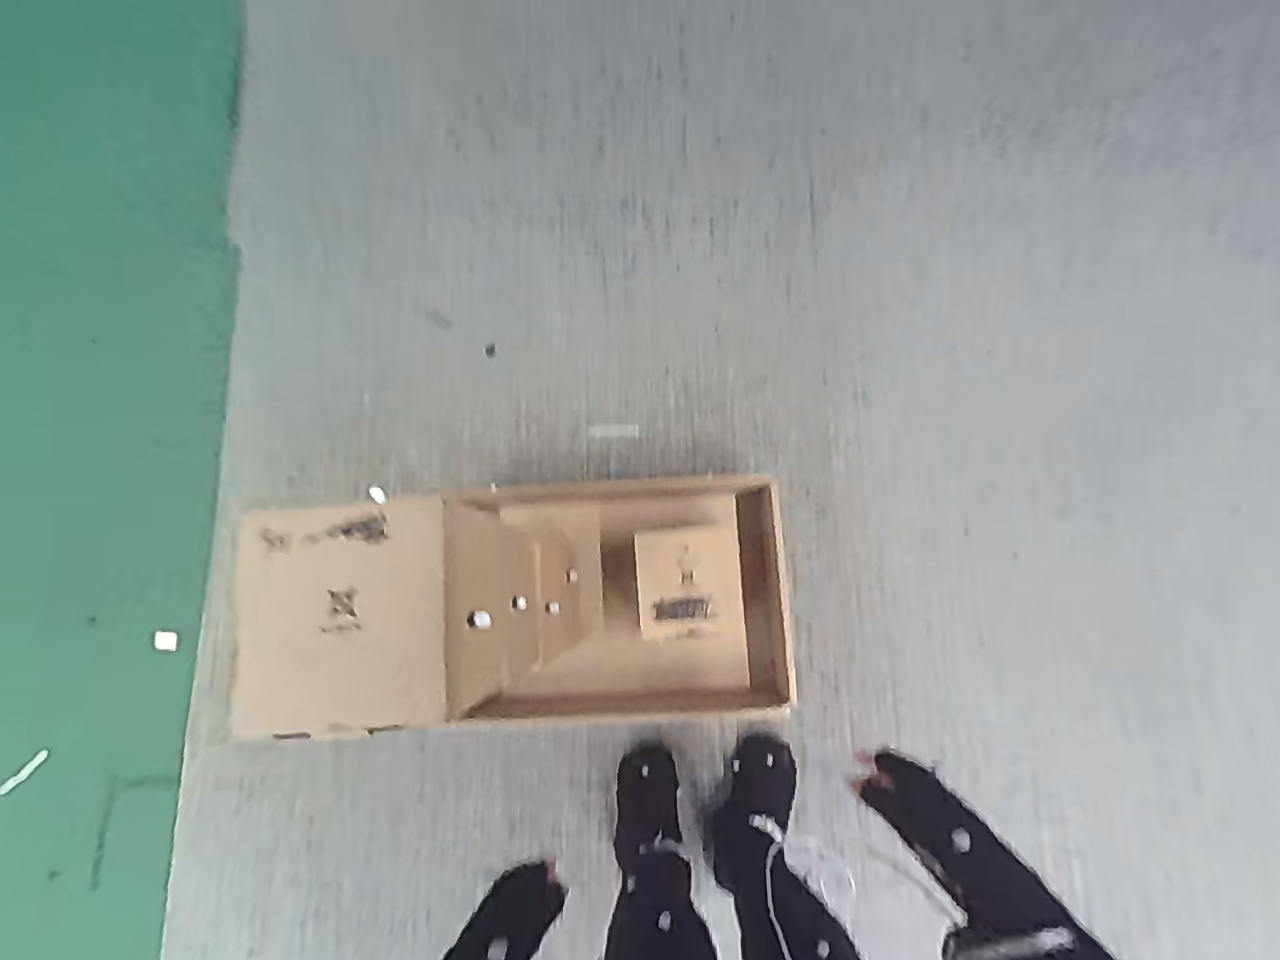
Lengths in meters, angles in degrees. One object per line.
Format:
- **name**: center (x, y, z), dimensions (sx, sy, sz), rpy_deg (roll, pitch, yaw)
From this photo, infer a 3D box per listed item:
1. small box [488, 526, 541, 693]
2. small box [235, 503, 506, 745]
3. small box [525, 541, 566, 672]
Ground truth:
- **small box**: center (-0.219, 0.154, 0.656), dimensions (0.168, 0.176, 0.179), rpy_deg (-5, 79, 1)
- **small box**: center (-0.225, 0.121, 0.496), dimensions (0.168, 0.176, 0.179), rpy_deg (-4, 80, 1)
- **small box**: center (-0.209, 0.189, 0.815), dimensions (0.168, 0.176, 0.179), rpy_deg (-3, 80, 2)
